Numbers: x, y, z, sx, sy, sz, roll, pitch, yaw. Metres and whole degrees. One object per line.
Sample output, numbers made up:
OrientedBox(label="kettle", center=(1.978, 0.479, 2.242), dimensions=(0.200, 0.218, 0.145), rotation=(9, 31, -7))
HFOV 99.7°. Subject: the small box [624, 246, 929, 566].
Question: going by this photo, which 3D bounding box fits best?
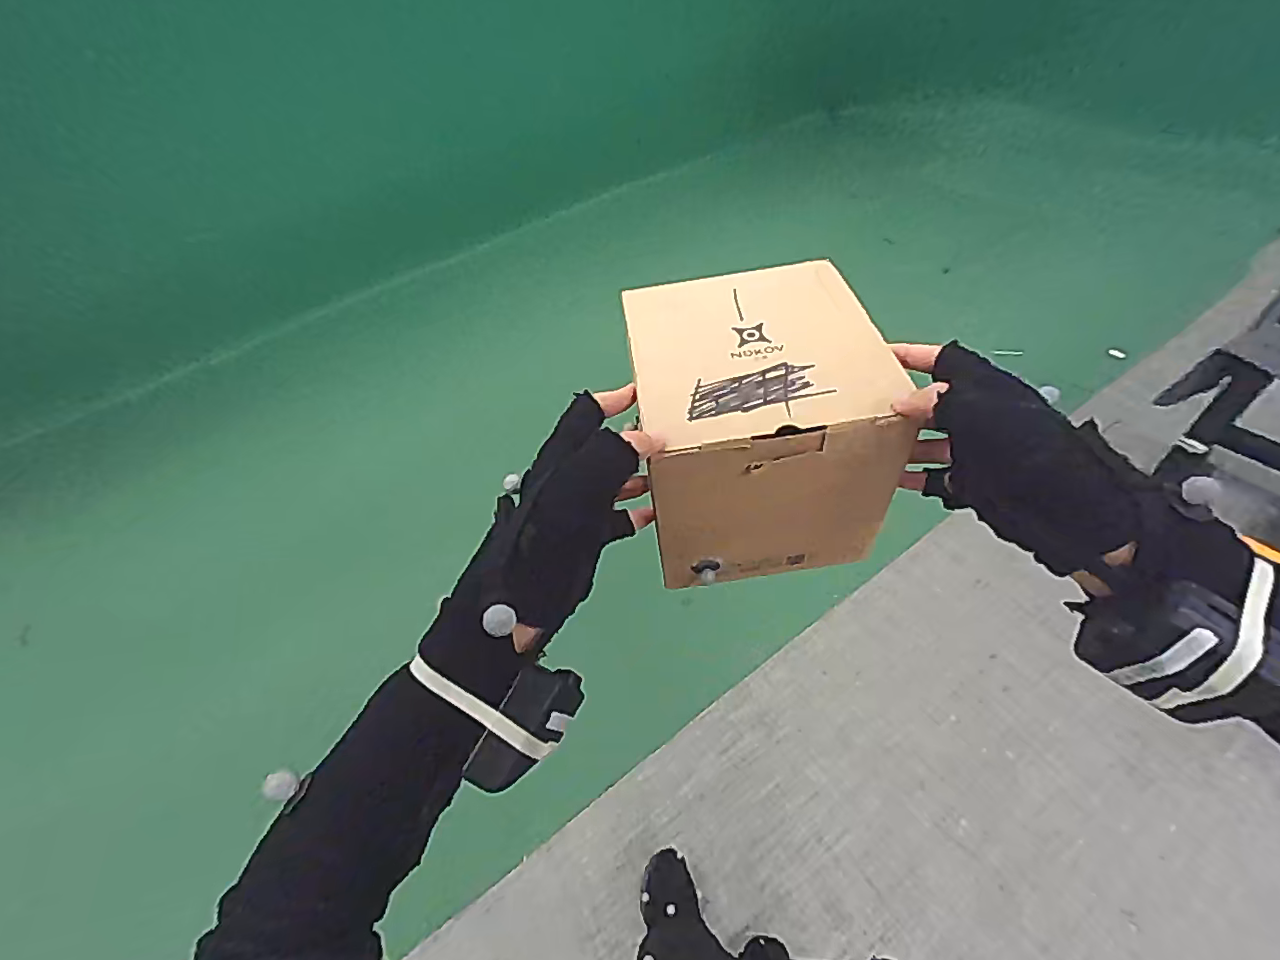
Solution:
OrientedBox(label="small box", center=(0.085, -0.047, 0.418), dimensions=(0.168, 0.176, 0.179), rotation=(-9, 51, 1))
